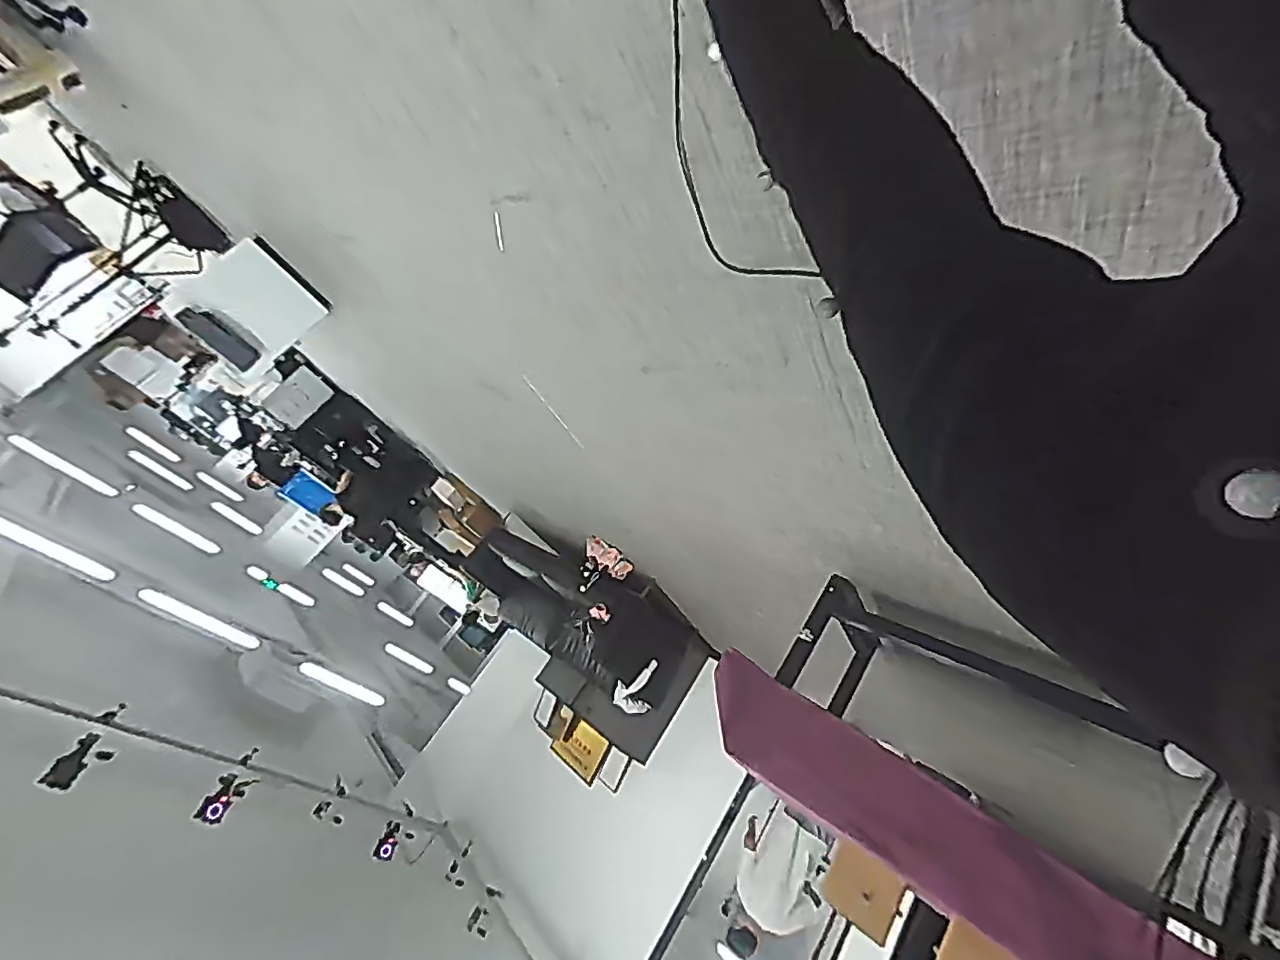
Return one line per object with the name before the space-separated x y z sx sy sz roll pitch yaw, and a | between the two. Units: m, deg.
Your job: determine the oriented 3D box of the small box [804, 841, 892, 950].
small box | 0.580 1.140 1.490 0.179 0.176 0.168 20 154 37
